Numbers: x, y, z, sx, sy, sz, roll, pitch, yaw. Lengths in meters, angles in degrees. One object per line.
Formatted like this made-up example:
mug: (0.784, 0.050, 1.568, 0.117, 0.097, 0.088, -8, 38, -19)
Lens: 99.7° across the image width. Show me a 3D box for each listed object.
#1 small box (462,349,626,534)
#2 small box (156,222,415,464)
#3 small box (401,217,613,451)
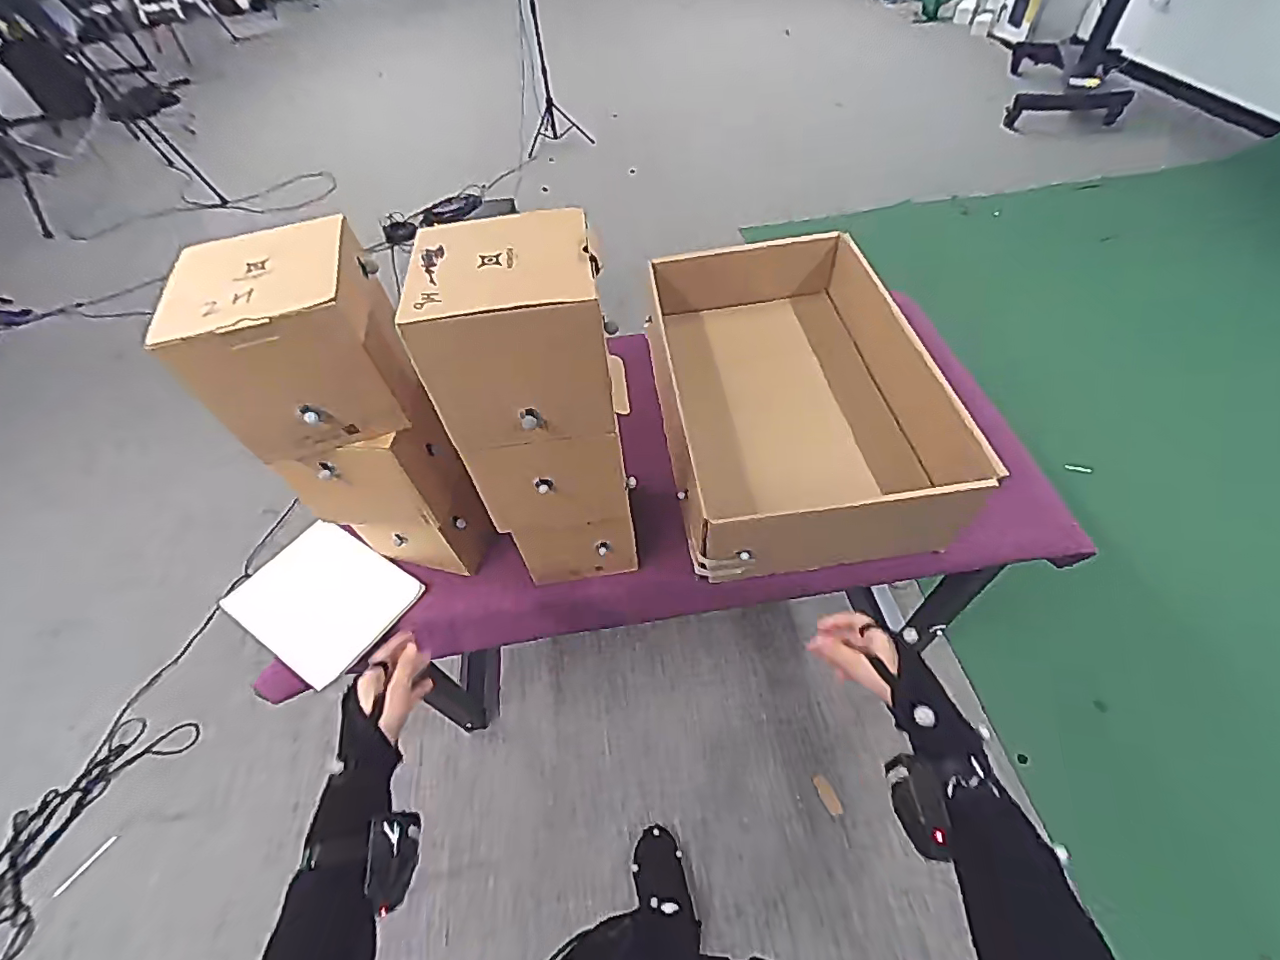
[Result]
small box: (-0.112, -0.048, 0.701, 0.179, 0.176, 0.168, -8, 51, -1)
small box: (-0.362, -0.148, 0.593, 0.168, 0.176, 0.179, -16, 53, -6)
small box: (-0.123, -0.149, 0.572, 0.179, 0.176, 0.168, -7, 51, -2)
